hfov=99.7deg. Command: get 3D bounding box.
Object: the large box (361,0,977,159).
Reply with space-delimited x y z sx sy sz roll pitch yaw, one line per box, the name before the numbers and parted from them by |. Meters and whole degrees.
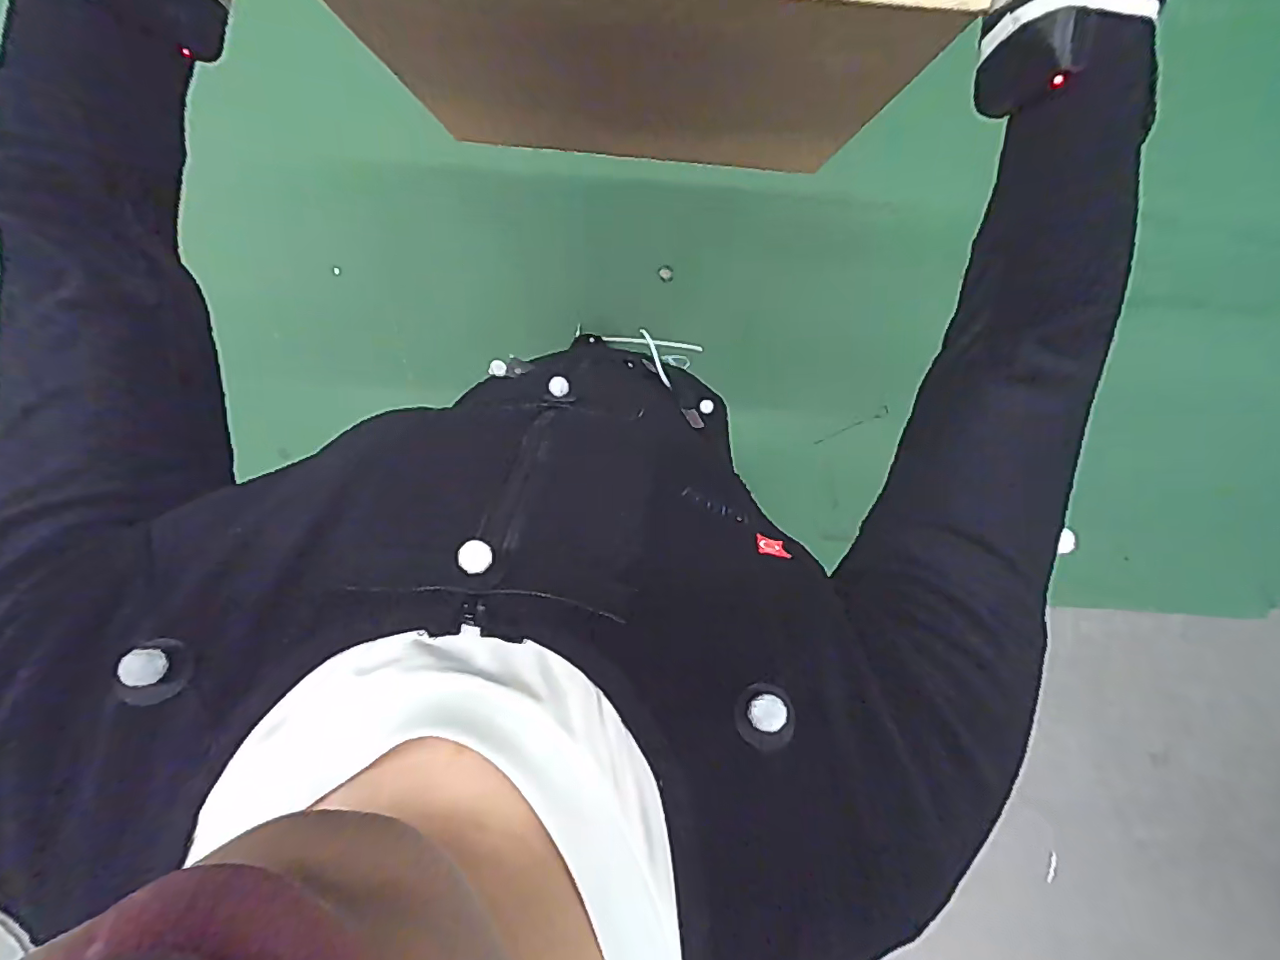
large box | 0.014 -0.476 0.418 0.408 0.320 0.320 4 105 -2
